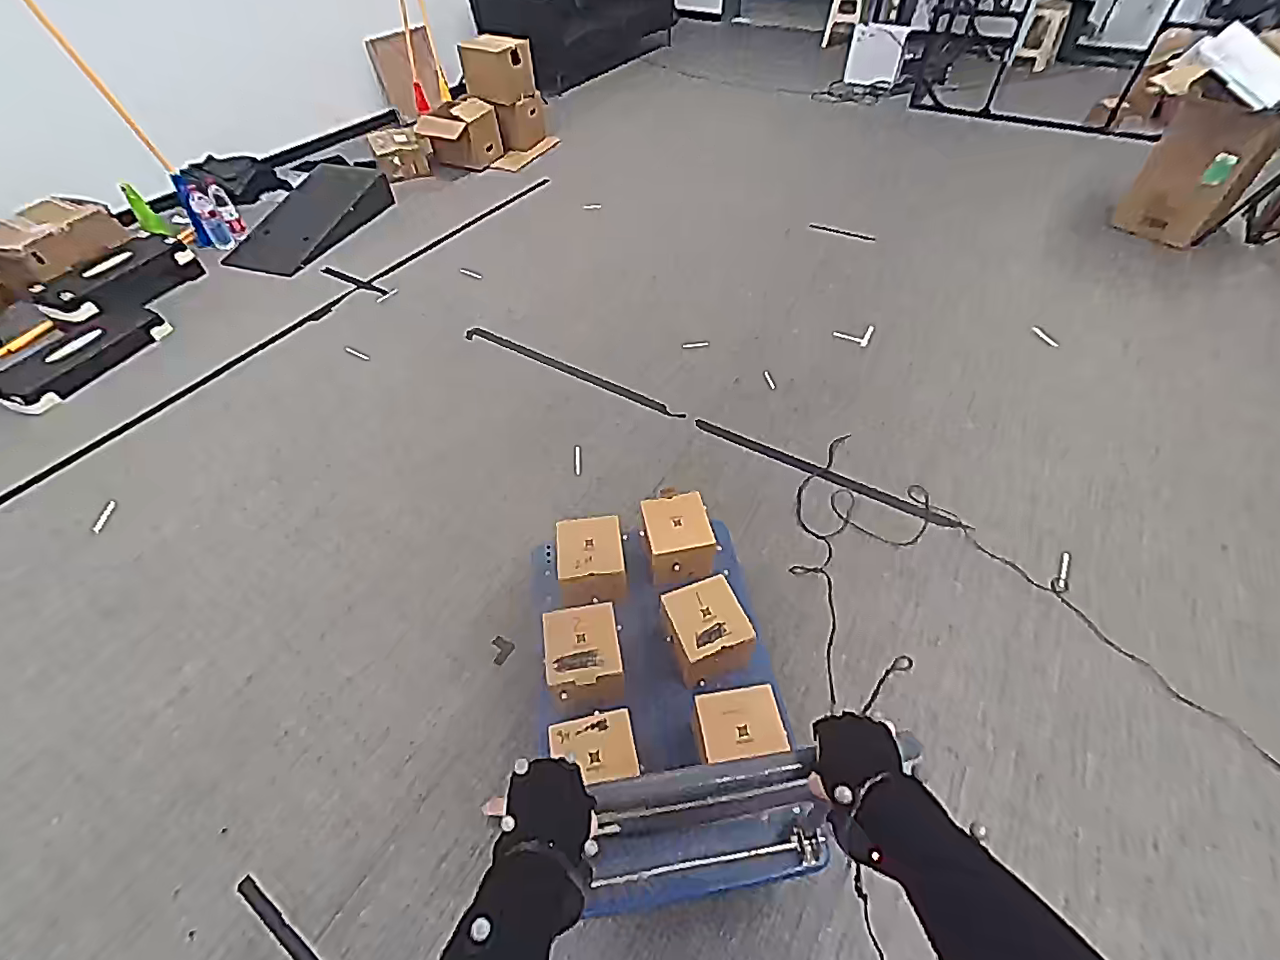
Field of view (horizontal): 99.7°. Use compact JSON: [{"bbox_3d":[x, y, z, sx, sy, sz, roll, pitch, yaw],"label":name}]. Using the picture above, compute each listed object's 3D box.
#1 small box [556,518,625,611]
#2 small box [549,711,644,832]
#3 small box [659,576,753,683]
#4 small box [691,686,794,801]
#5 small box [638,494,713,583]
[{"bbox_3d":[-0.129,0.224,1.431,0.168,0.176,0.179,-6,51,-4],"label":"small box"},{"bbox_3d":[-0.087,0.603,1.109,0.168,0.176,0.179,-10,50,-8],"label":"small box"},{"bbox_3d":[0.153,0.368,1.304,0.168,0.176,0.179,-17,50,-13],"label":"small box"},{"bbox_3d":[0.207,0.560,1.140,0.168,0.176,0.179,-7,49,-5],"label":"small box"},{"bbox_3d":[0.094,0.167,1.477,0.168,0.176,0.179,-10,50,-7],"label":"small box"}]
